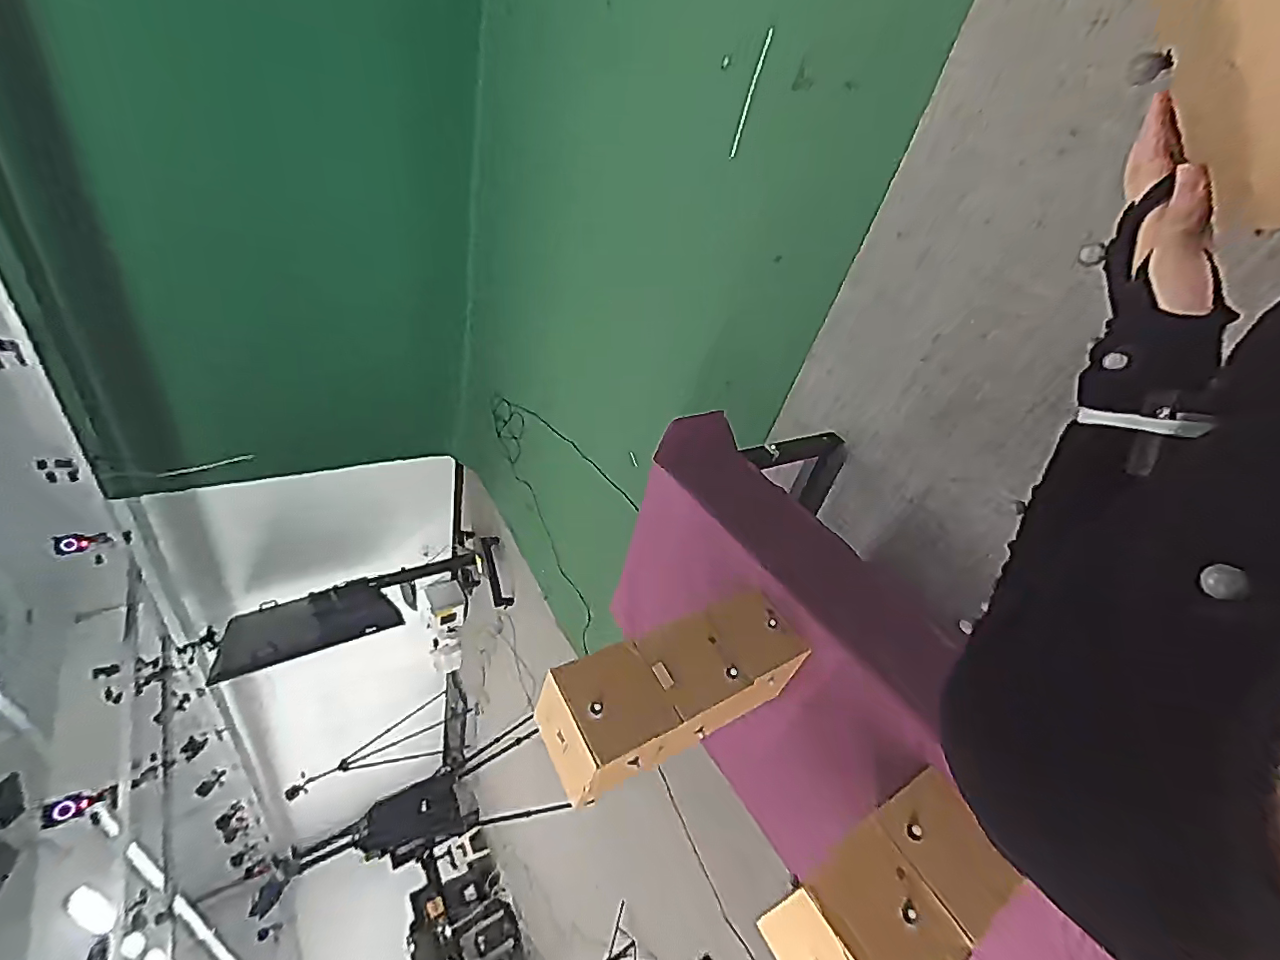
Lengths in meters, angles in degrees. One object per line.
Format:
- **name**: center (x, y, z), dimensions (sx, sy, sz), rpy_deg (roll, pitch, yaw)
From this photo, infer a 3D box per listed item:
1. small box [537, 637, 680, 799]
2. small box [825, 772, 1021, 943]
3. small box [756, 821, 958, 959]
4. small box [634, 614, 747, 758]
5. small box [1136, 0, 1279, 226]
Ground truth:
- **small box**: center (-0.057, 0.403, 0.936), dimensions (0.179, 0.176, 0.168), rpy_deg (54, 138, 34)
- **small box**: center (0.438, 0.592, 0.848), dimensions (0.179, 0.176, 0.168), rpy_deg (50, 138, 37)
- **small box**: center (0.302, 0.628, 0.764), dimensions (0.168, 0.176, 0.179), rpy_deg (51, 137, 36)
- **small box**: center (0.077, 0.383, 1.027), dimensions (0.168, 0.176, 0.179), rpy_deg (52, 140, 34)
- **small box**: center (0.342, -0.246, 0.236), dimensions (0.168, 0.176, 0.179), rpy_deg (-14, 110, 41)
